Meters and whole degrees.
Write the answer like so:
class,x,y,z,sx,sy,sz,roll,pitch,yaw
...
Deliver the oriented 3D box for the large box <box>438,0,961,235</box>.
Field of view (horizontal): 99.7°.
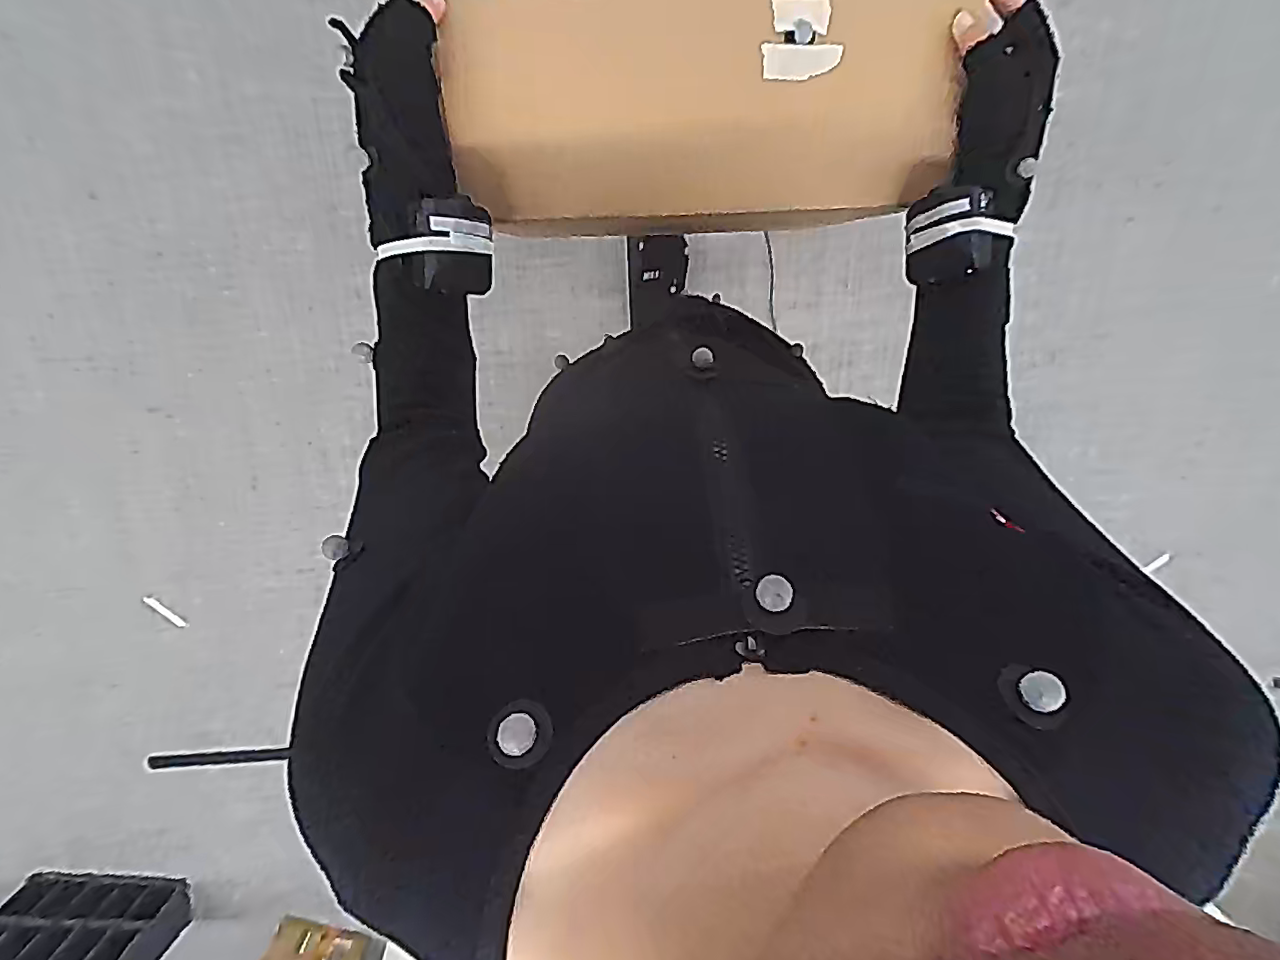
class,x,y,z,sx,sy,sz,roll,pitch,yaw
large box,0.037,-0.431,0.536,0.408,0.320,0.320,-4,113,-2
